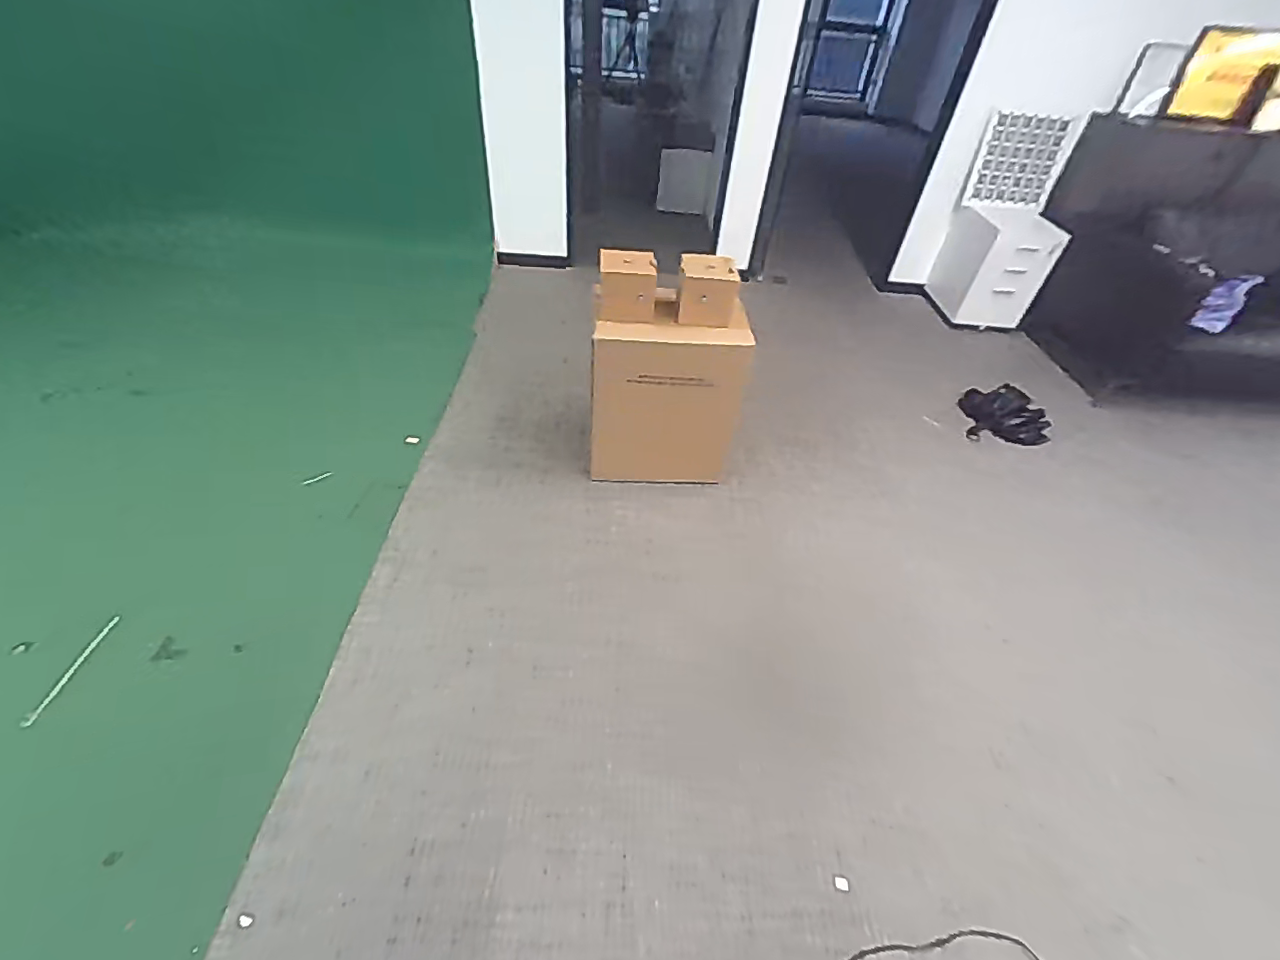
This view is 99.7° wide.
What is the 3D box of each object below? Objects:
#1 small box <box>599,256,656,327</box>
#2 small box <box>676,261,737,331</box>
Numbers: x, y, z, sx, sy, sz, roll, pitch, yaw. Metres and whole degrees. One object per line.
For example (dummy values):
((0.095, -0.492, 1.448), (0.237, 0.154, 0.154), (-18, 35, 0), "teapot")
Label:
((-0.047, -0.621, 1.787), (0.179, 0.176, 0.168), (0, 46, -5), "small box")
((0.214, -0.614, 1.809), (0.179, 0.176, 0.168), (3, 47, -4), "small box")
